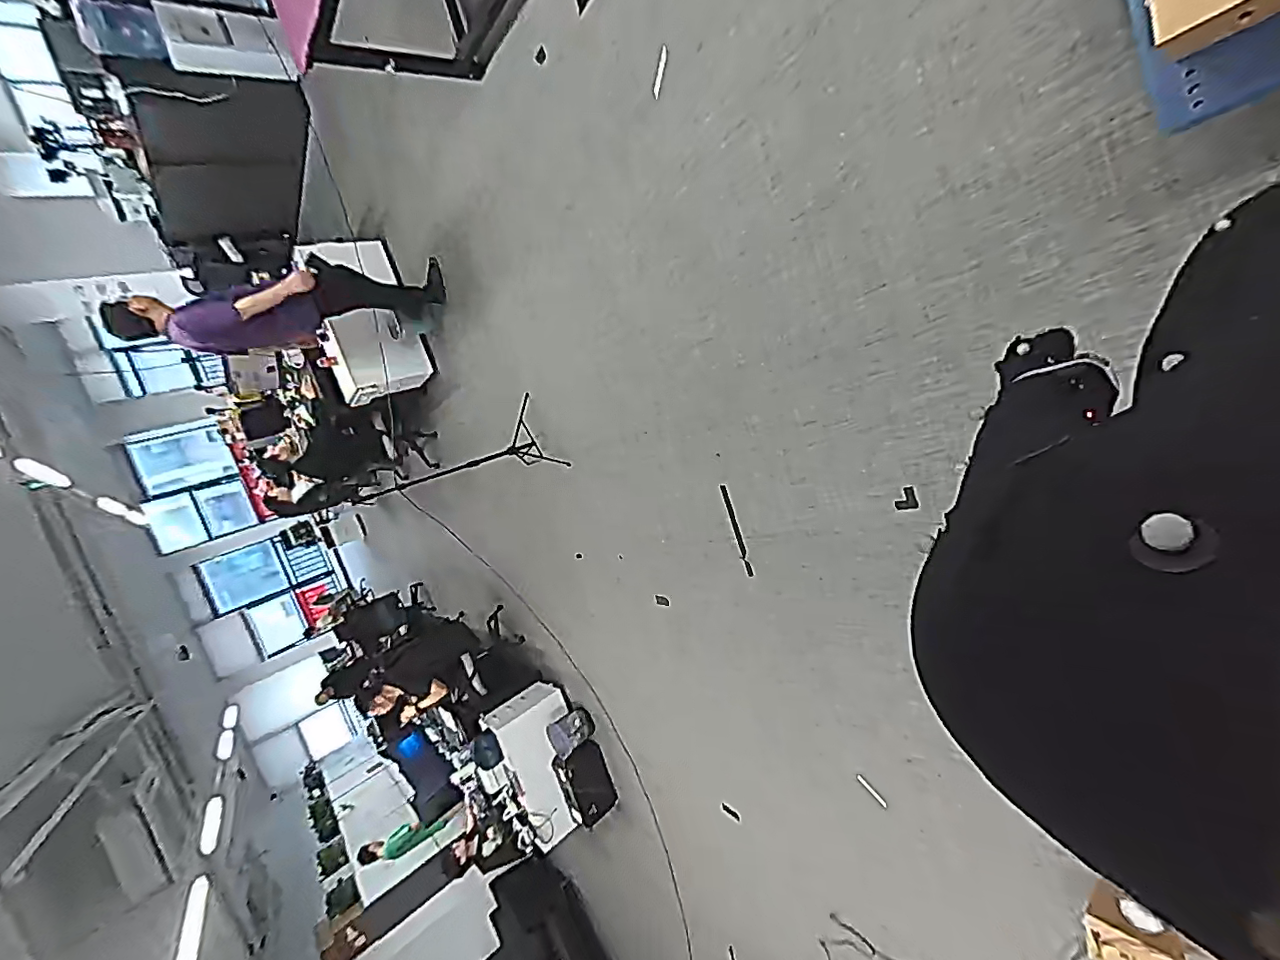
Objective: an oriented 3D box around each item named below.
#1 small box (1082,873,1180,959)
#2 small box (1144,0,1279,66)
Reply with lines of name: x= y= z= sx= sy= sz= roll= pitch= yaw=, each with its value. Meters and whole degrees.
small box: x=1.317 y=1.214 z=1.448 sx=0.179 sy=0.176 sz=0.168 roll=3 pitch=111 yaw=51
small box: x=0.801 y=-0.695 z=0.717 sx=0.179 sy=0.176 sz=0.168 roll=-5 pitch=105 yaw=53
